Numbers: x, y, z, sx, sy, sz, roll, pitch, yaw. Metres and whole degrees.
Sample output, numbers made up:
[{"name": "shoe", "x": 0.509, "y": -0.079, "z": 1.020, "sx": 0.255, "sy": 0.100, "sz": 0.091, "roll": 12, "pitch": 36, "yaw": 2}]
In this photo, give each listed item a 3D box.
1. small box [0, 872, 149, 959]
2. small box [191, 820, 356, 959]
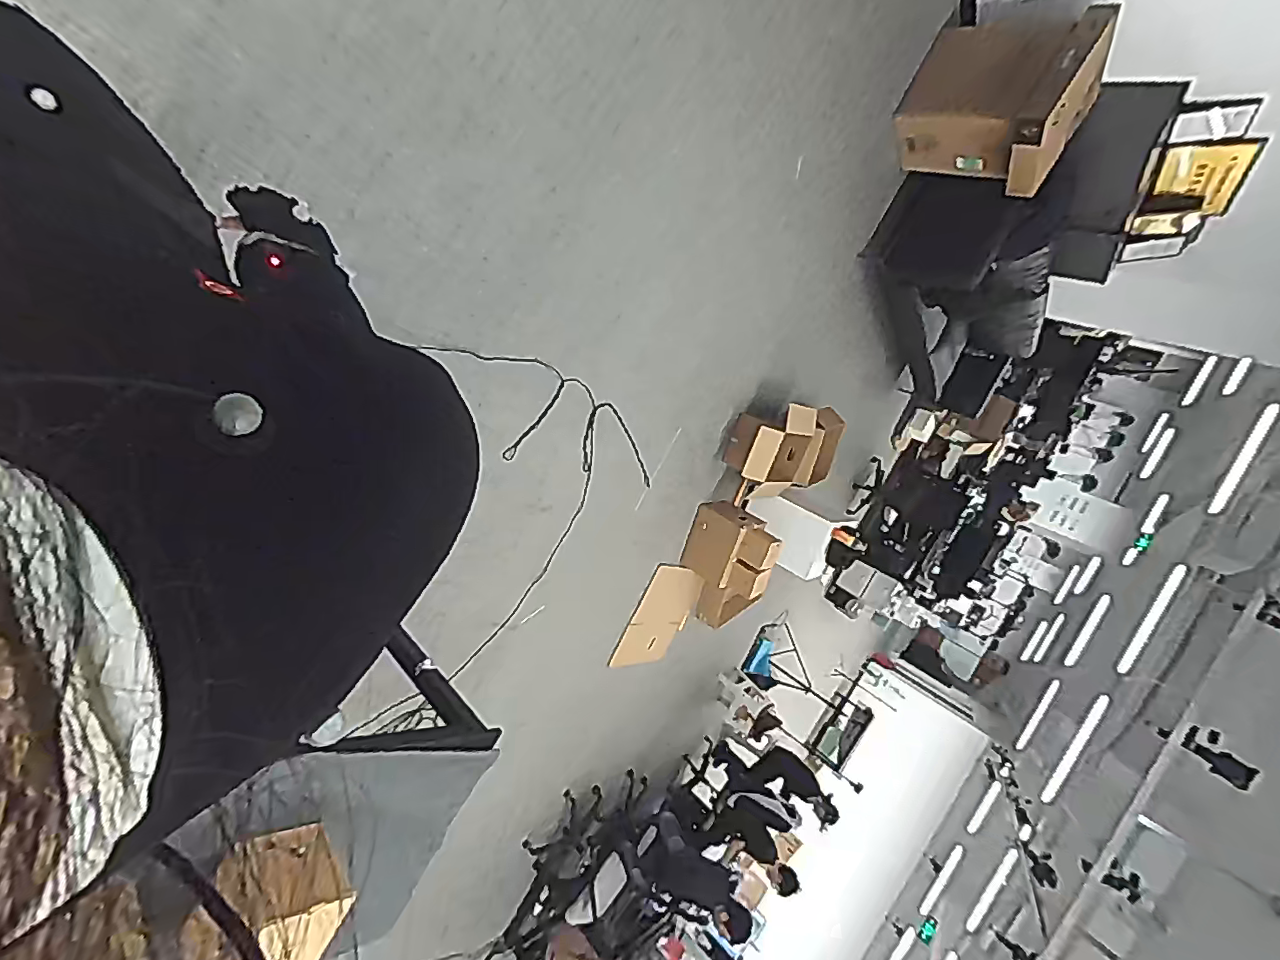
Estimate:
[{"name": "small box", "x": -0.793, "y": 0.672, "z": 0.707, "sx": 0.179, "sy": 0.176, "sz": 0.168, "roll": -59, "pitch": 147, "yaw": -1}, {"name": "small box", "x": -0.651, "y": 0.752, "z": 0.957, "sx": 0.179, "sy": 0.176, "sz": 0.168, "roll": -60, "pitch": 146, "yaw": 0}]
